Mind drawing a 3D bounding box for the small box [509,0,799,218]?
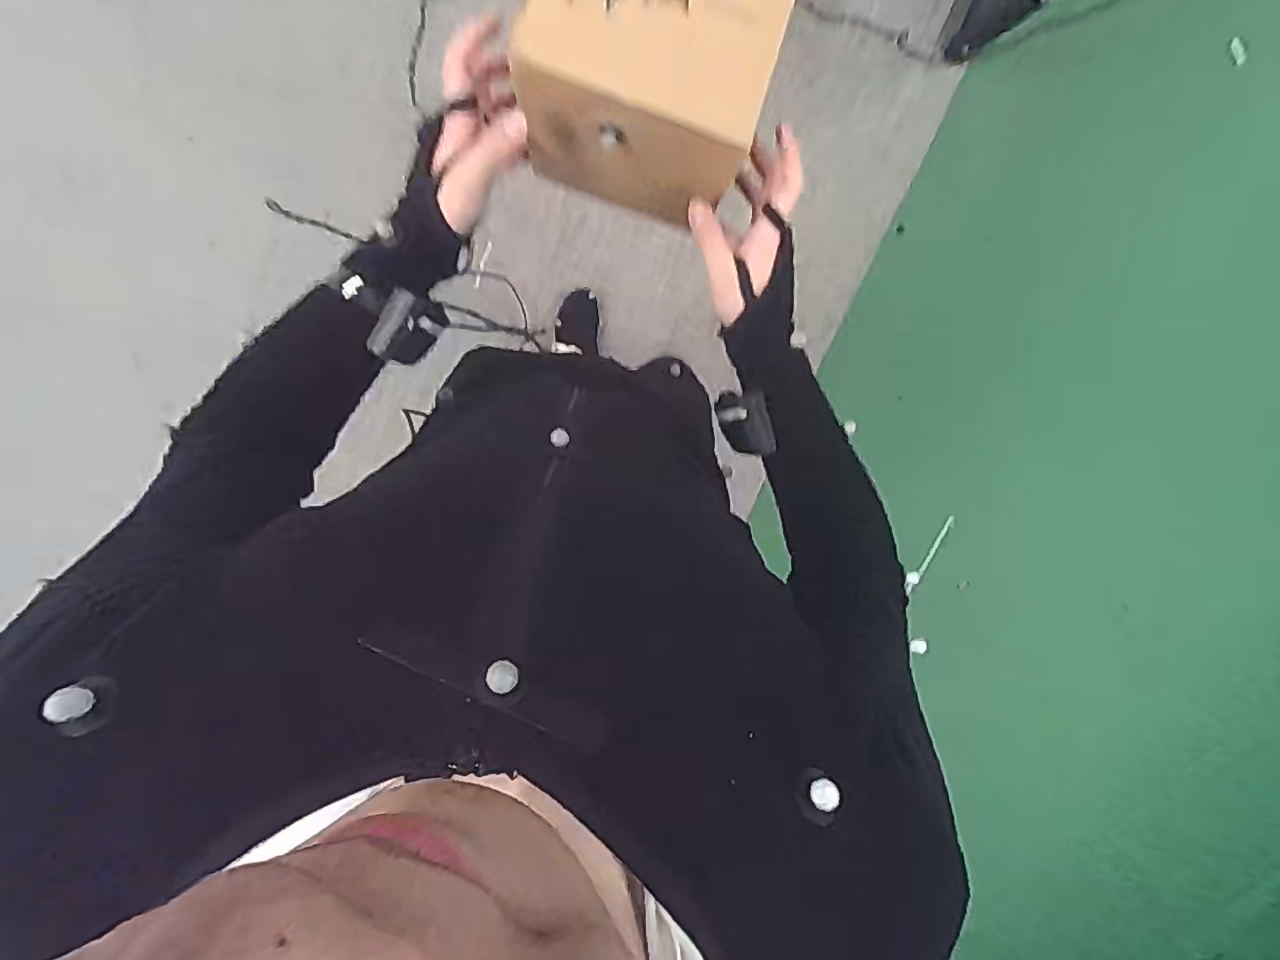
[{"bbox_3d":[0.014,-0.341,0.433,0.179,0.176,0.168,17,93,-6],"label":"small box"}]
